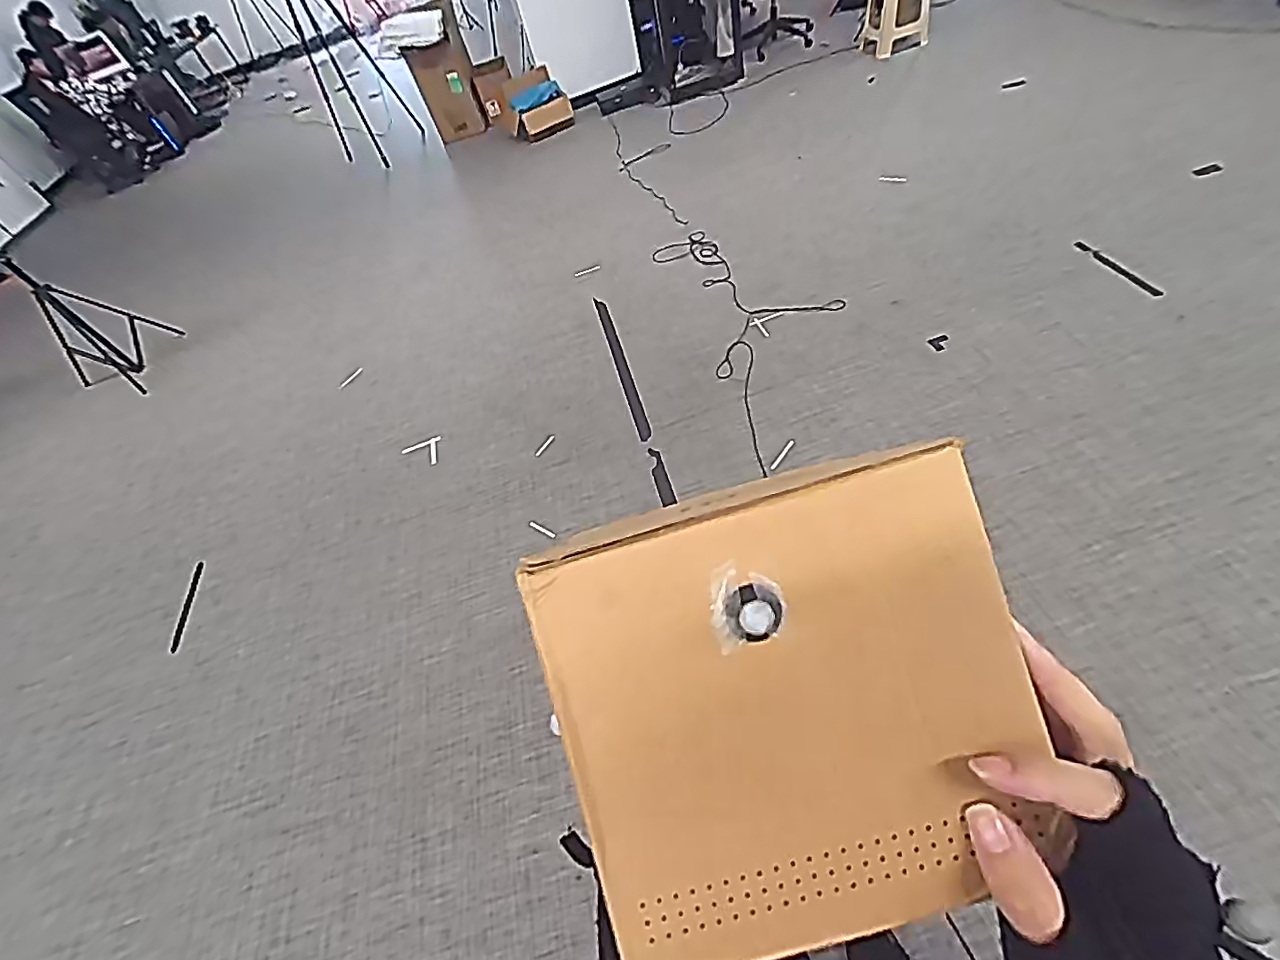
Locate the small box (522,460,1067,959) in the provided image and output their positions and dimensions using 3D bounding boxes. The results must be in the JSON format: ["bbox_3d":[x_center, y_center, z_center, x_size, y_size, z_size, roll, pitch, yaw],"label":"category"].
[{"bbox_3d":[0.063,0.099,0.281,0.179,0.168,0.176,-16,88,2],"label":"small box"}]
